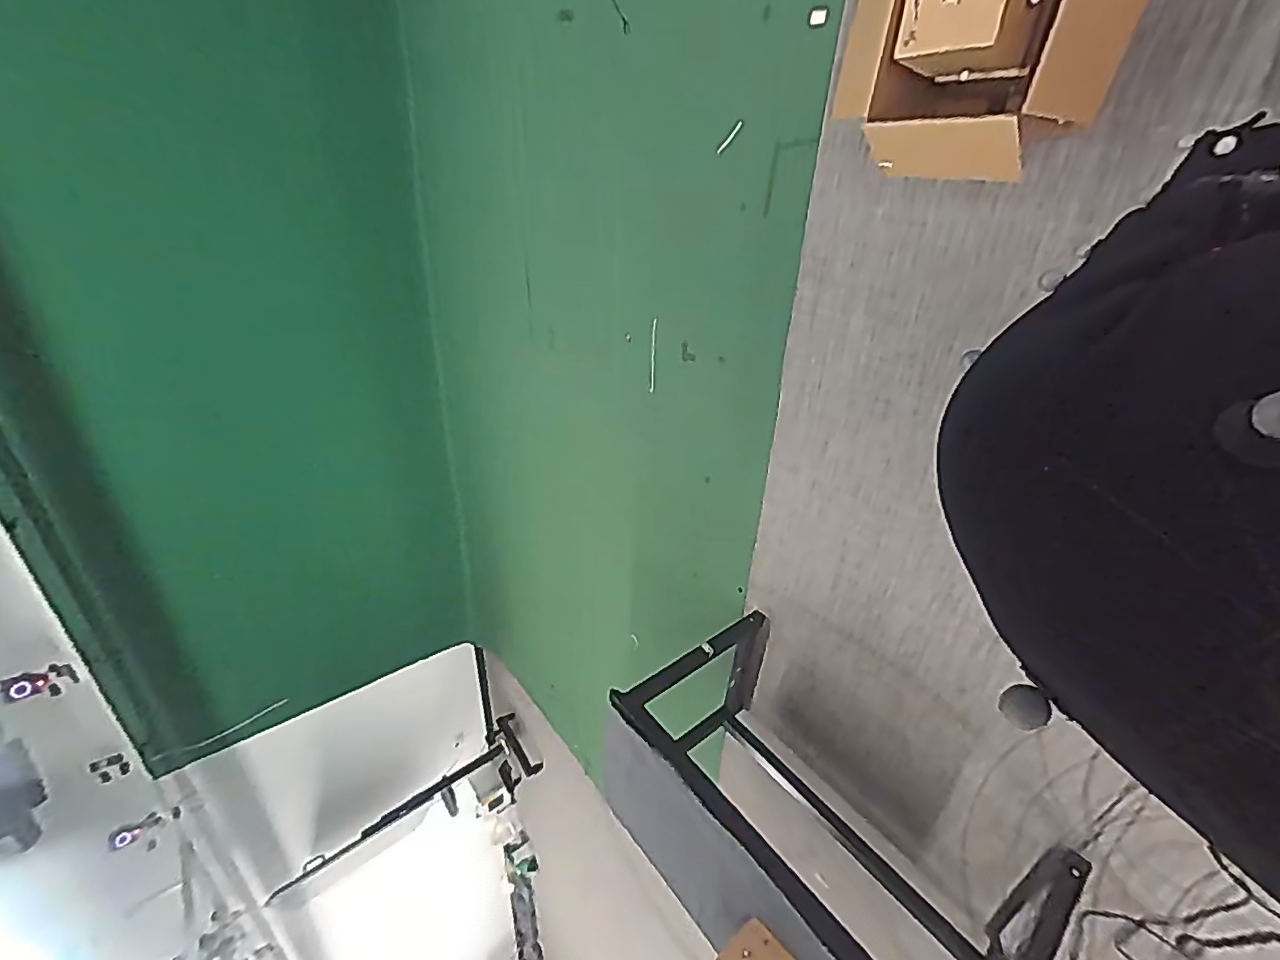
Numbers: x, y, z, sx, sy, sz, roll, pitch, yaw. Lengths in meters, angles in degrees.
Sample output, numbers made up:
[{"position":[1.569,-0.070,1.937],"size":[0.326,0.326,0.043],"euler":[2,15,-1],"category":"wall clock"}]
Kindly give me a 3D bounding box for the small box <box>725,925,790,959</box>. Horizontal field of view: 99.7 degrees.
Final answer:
[{"position":[0.305,1.296,1.368],"size":[0.168,0.176,0.179],"euler":[22,123,48],"category":"small box"}]
